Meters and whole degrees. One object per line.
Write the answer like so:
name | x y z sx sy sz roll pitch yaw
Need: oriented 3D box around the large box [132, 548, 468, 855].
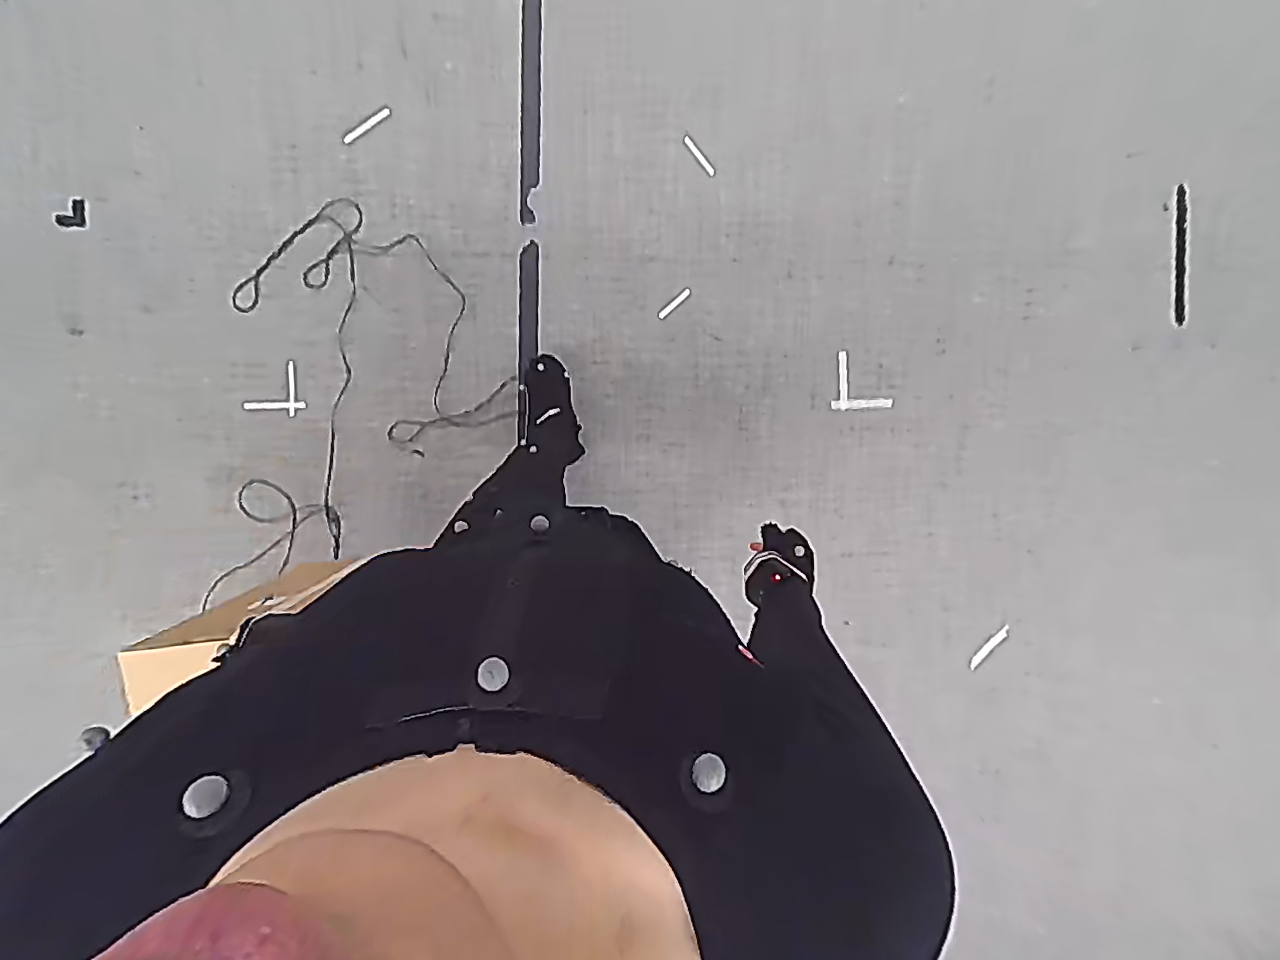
large box | -0.507 0.325 0.916 0.320 0.408 0.320 -7 97 -3
